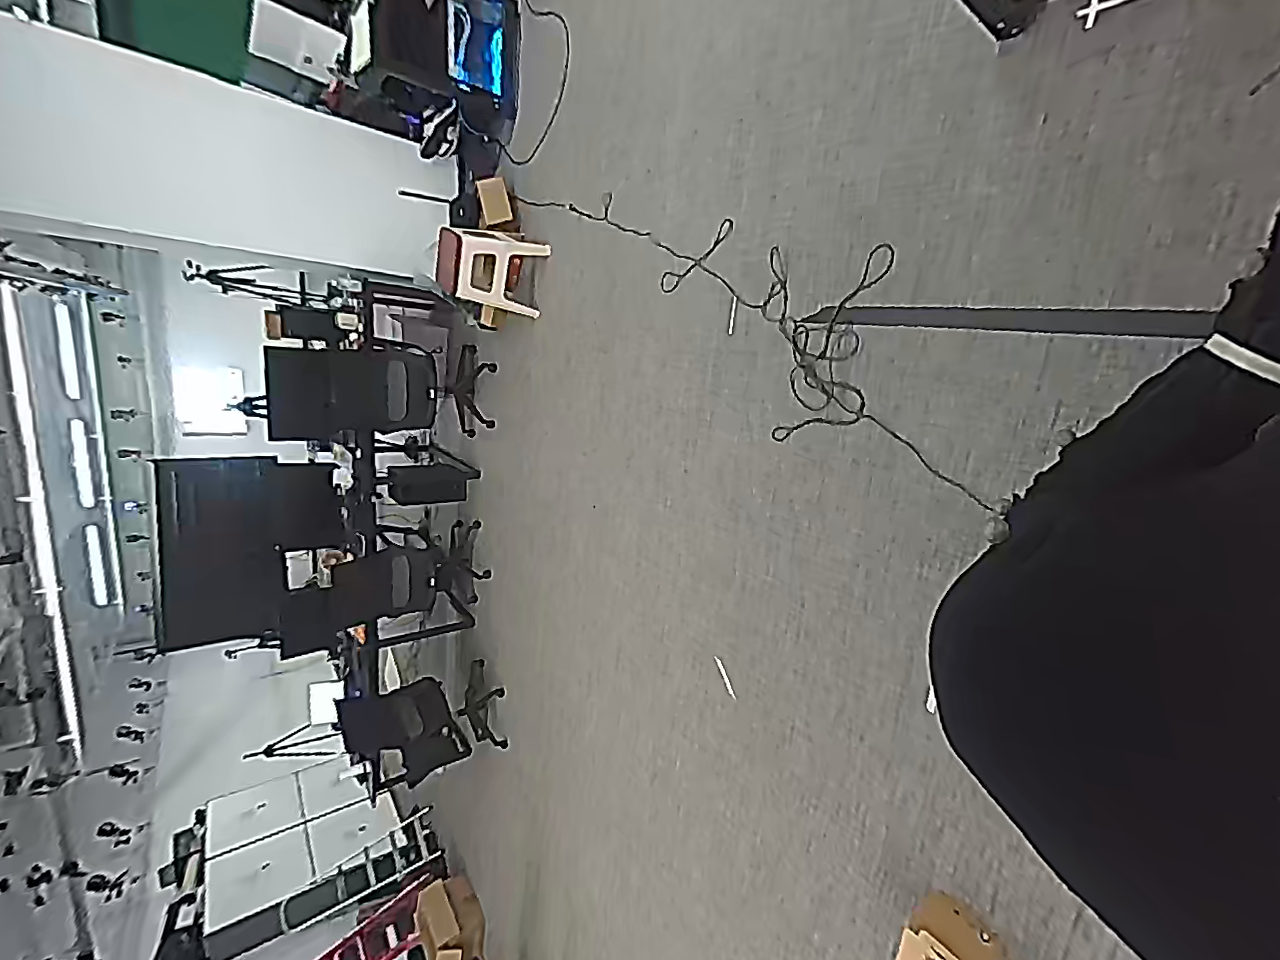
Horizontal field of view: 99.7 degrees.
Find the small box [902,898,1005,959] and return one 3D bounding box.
[{"bbox_3d":[0.775,1.206,1.345,0.168,0.176,0.179,23,112,51],"label":"small box"}]
